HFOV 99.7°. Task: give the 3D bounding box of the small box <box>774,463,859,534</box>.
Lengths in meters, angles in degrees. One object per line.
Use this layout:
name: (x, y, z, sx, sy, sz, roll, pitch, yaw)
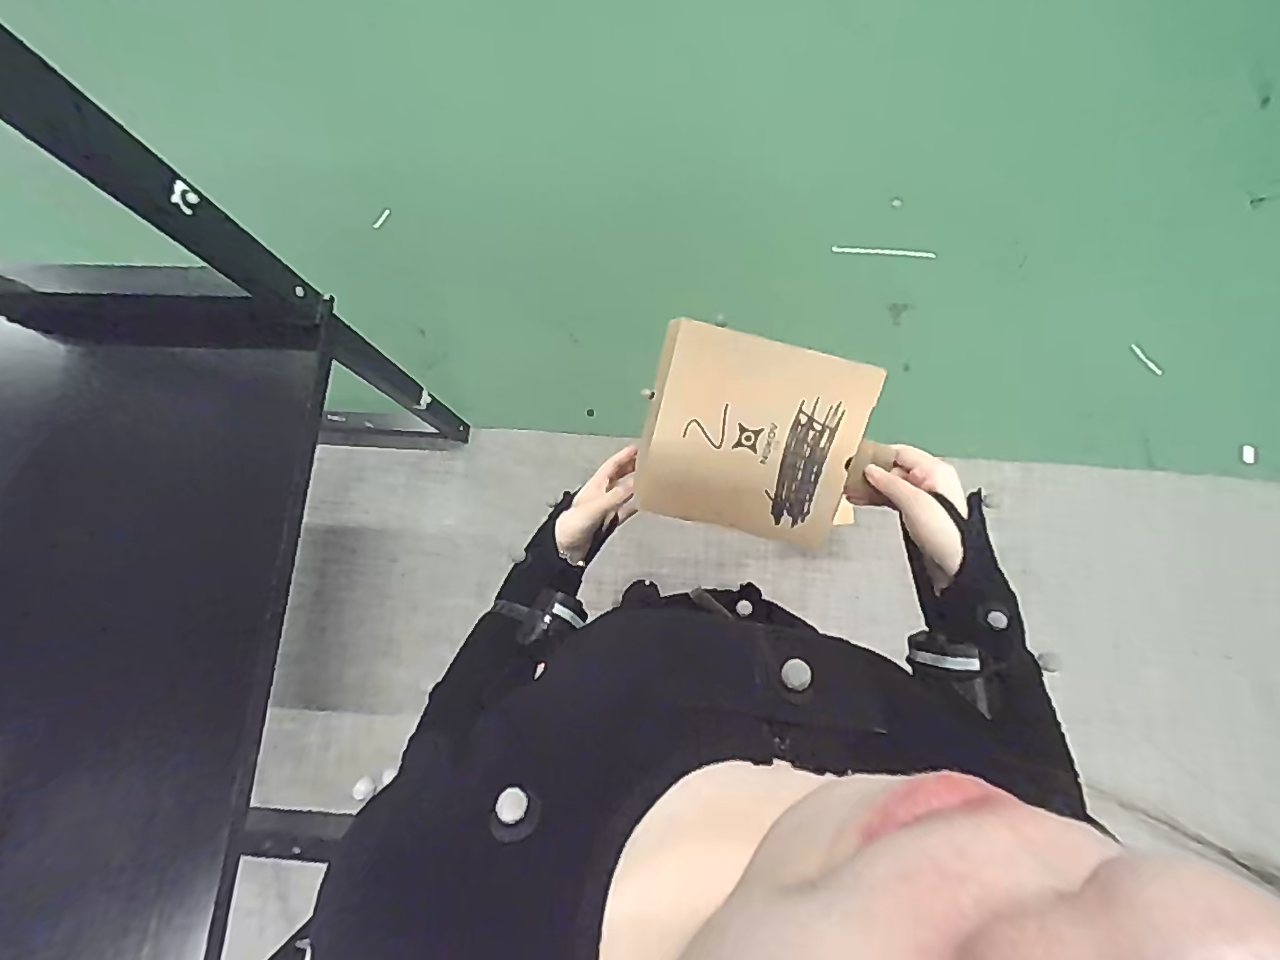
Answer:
small box: (0.463, 0.054, 1.451, 0.179, 0.176, 0.168, -3, 80, 1)
